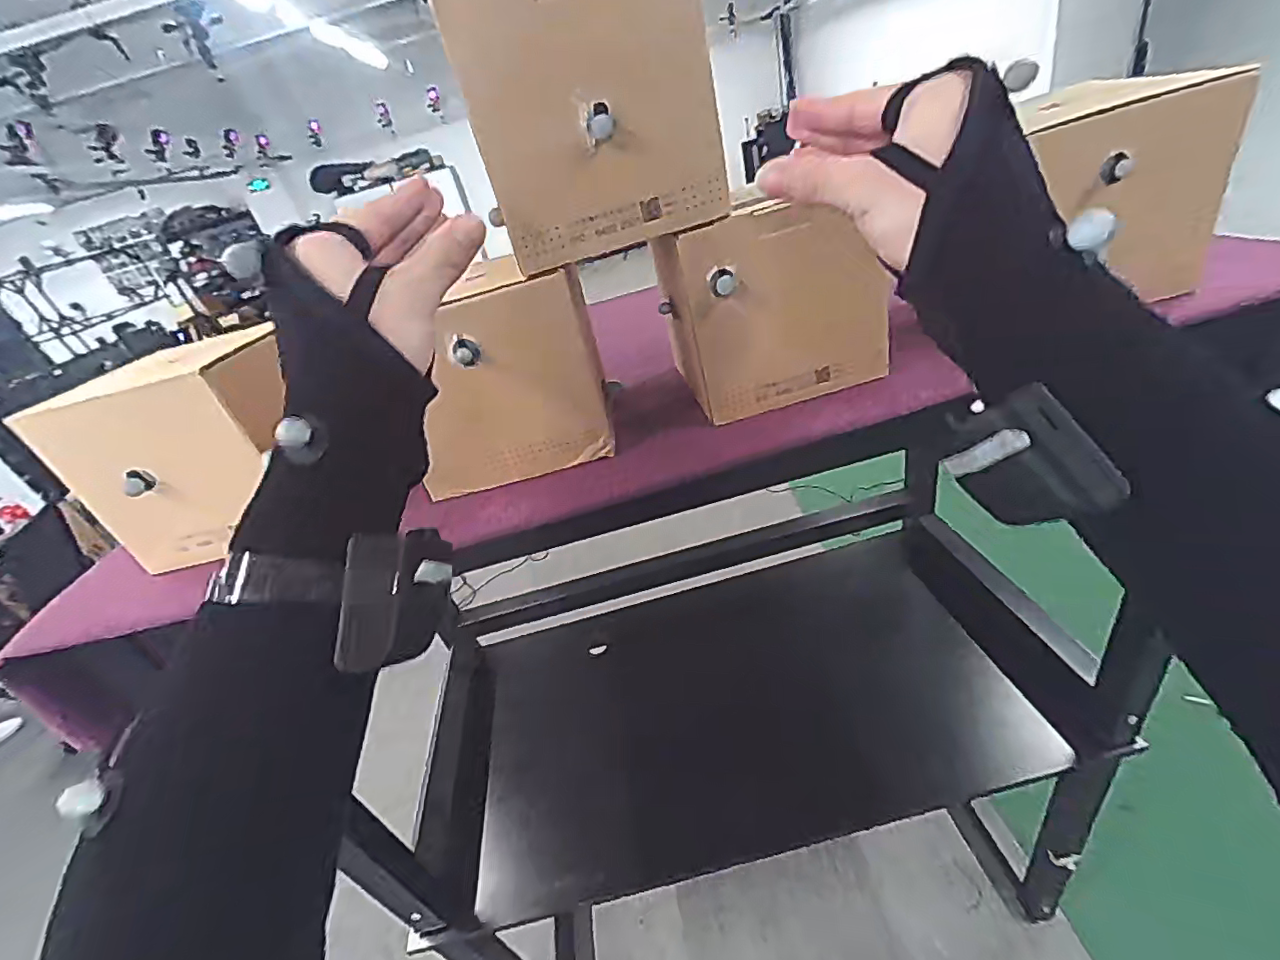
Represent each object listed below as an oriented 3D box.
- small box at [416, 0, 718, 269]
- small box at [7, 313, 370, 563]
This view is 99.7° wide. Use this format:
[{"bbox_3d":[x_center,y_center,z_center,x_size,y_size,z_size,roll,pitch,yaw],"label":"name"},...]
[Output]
[{"bbox_3d":[-0.048,-0.281,0.427,0.168,0.176,0.179,-18,32,-1],"label":"small box"},{"bbox_3d":[-0.397,-0.038,0.523,0.168,0.176,0.179,-14,31,4],"label":"small box"}]
